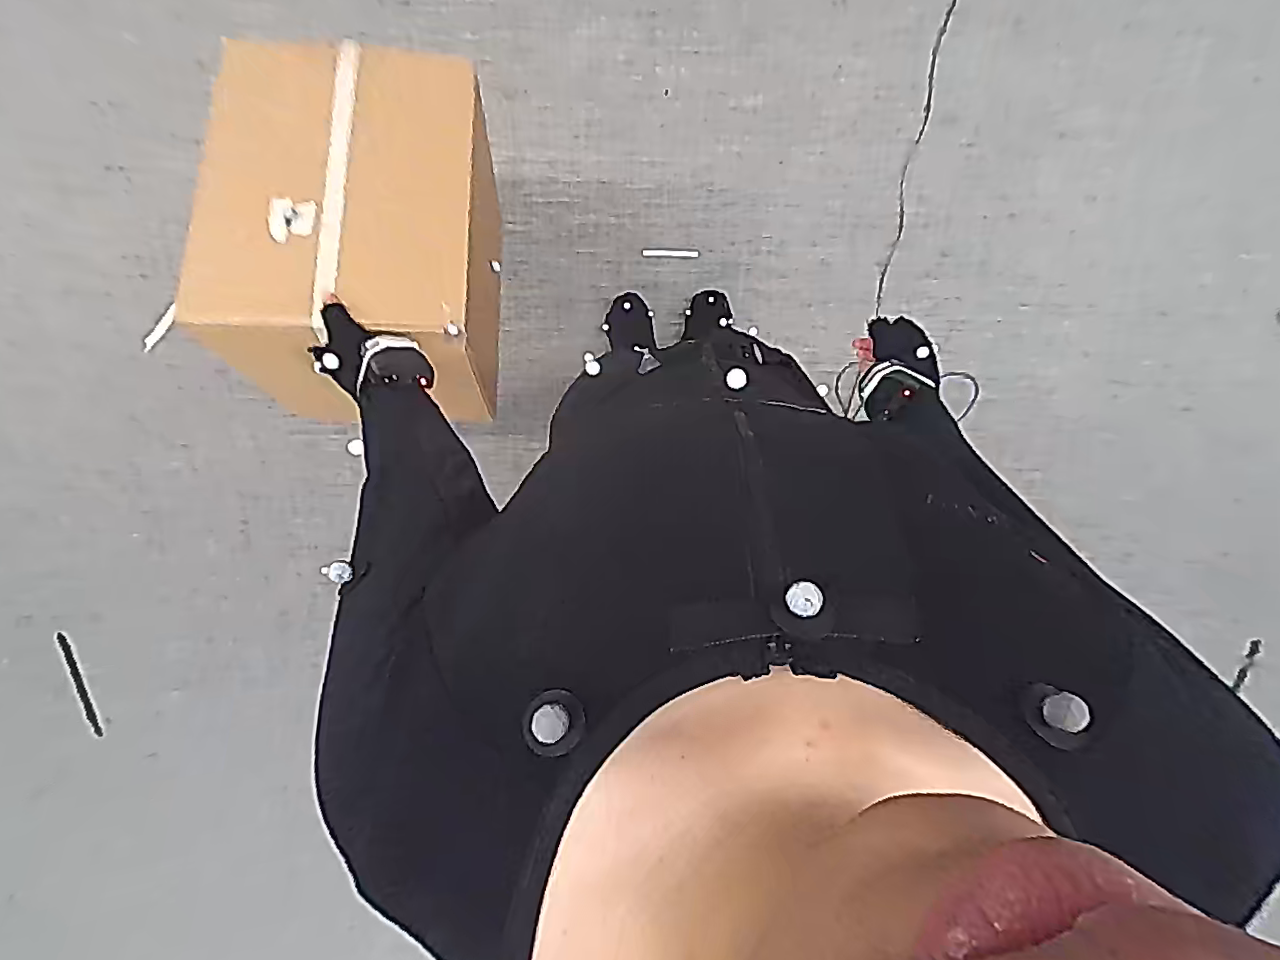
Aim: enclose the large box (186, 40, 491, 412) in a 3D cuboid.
[{"bbox_3d":[-0.399,-0.341,0.816,0.320,0.320,0.408,-2,78,-8],"label":"large box"}]
